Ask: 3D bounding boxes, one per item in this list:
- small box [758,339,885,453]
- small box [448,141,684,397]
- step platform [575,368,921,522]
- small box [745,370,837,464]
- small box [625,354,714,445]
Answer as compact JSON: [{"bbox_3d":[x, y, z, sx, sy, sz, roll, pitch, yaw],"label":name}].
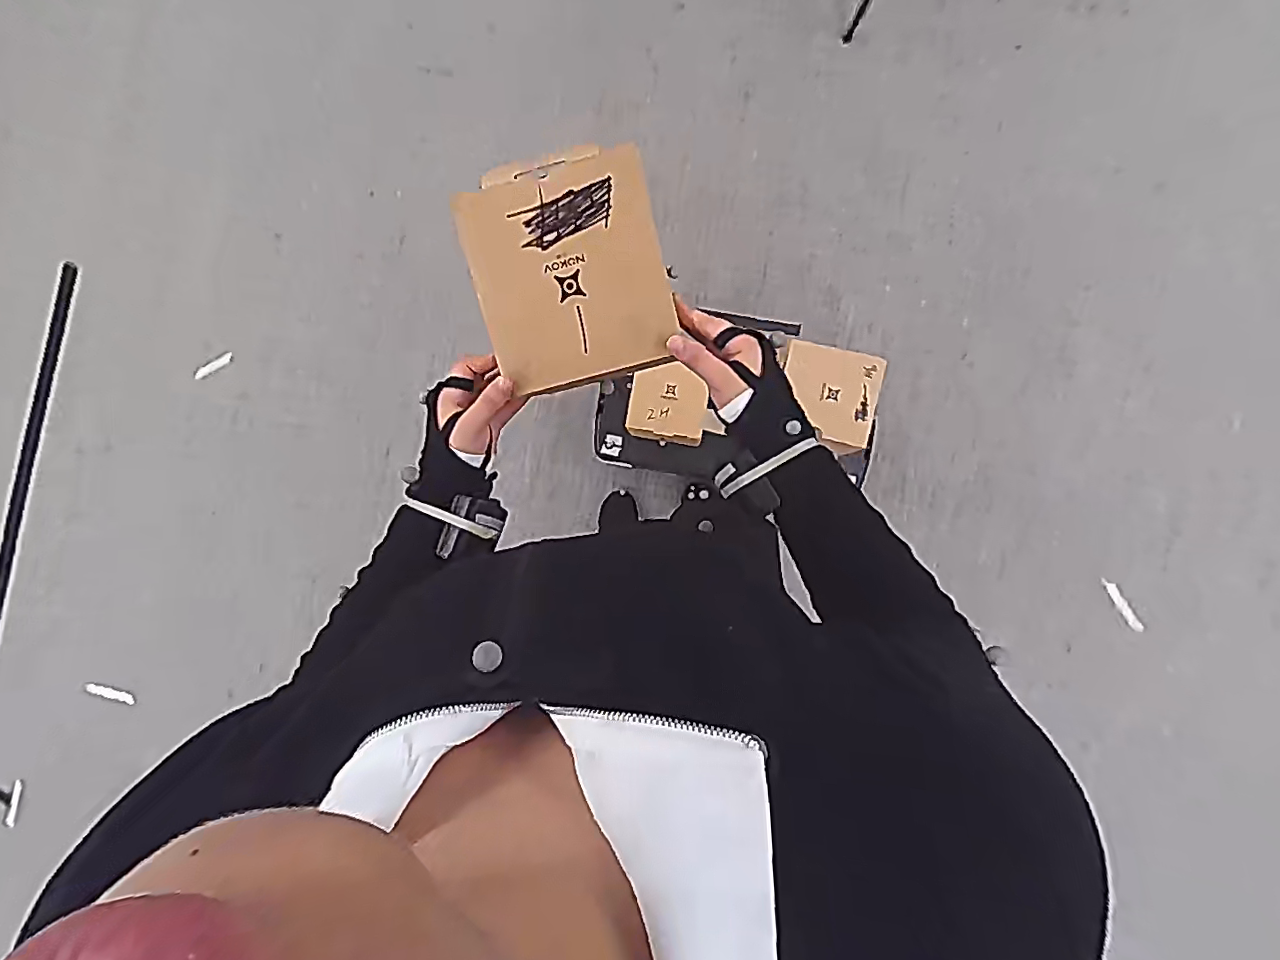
[{"bbox_3d":[0.337,-0.152,1.042,0.179,0.176,0.168,14,90,5],"label":"small box"},{"bbox_3d":[-0.058,-0.187,0.534,0.168,0.176,0.179,-14,100,6],"label":"small box"},{"bbox_3d":[0.216,-0.105,1.176,0.684,0.204,0.286,10,89,3],"label":"step platform"},{"bbox_3d":[0.343,-0.132,1.204,0.179,0.176,0.168,13,90,5],"label":"small box"},{"bbox_3d":[0.067,-0.182,1.222,0.168,0.176,0.179,10,90,4],"label":"small box"}]
